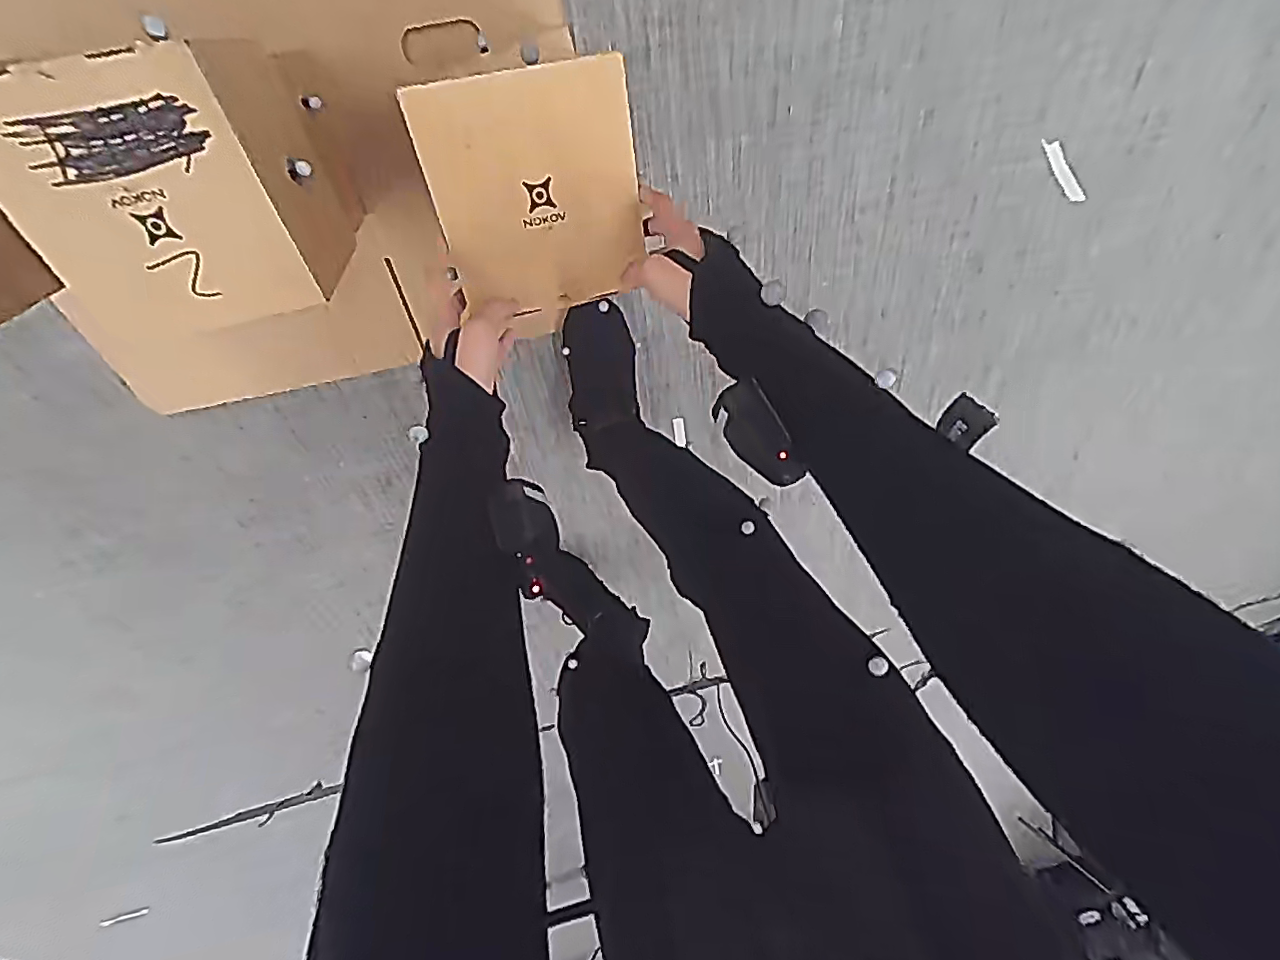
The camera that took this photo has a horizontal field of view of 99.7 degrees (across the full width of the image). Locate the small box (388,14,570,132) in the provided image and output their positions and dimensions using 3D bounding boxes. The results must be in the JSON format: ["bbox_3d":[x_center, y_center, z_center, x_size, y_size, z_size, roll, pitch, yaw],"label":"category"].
[{"bbox_3d":[-0.148,-0.387,0.605,0.179,0.176,0.168,-21,132,0],"label":"small box"}]

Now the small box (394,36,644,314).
[{"bbox_3d":[-0.104,-0.278,0.490,0.168,0.176,0.179,-15,131,-7],"label":"small box"}]

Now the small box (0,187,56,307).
[{"bbox_3d":[-0.617,-0.201,0.393,0.168,0.176,0.179,-11,131,-7],"label":"small box"}]

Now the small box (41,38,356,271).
[{"bbox_3d":[-0.420,-0.339,0.559,0.168,0.176,0.179,-11,131,-8],"label":"small box"}]
